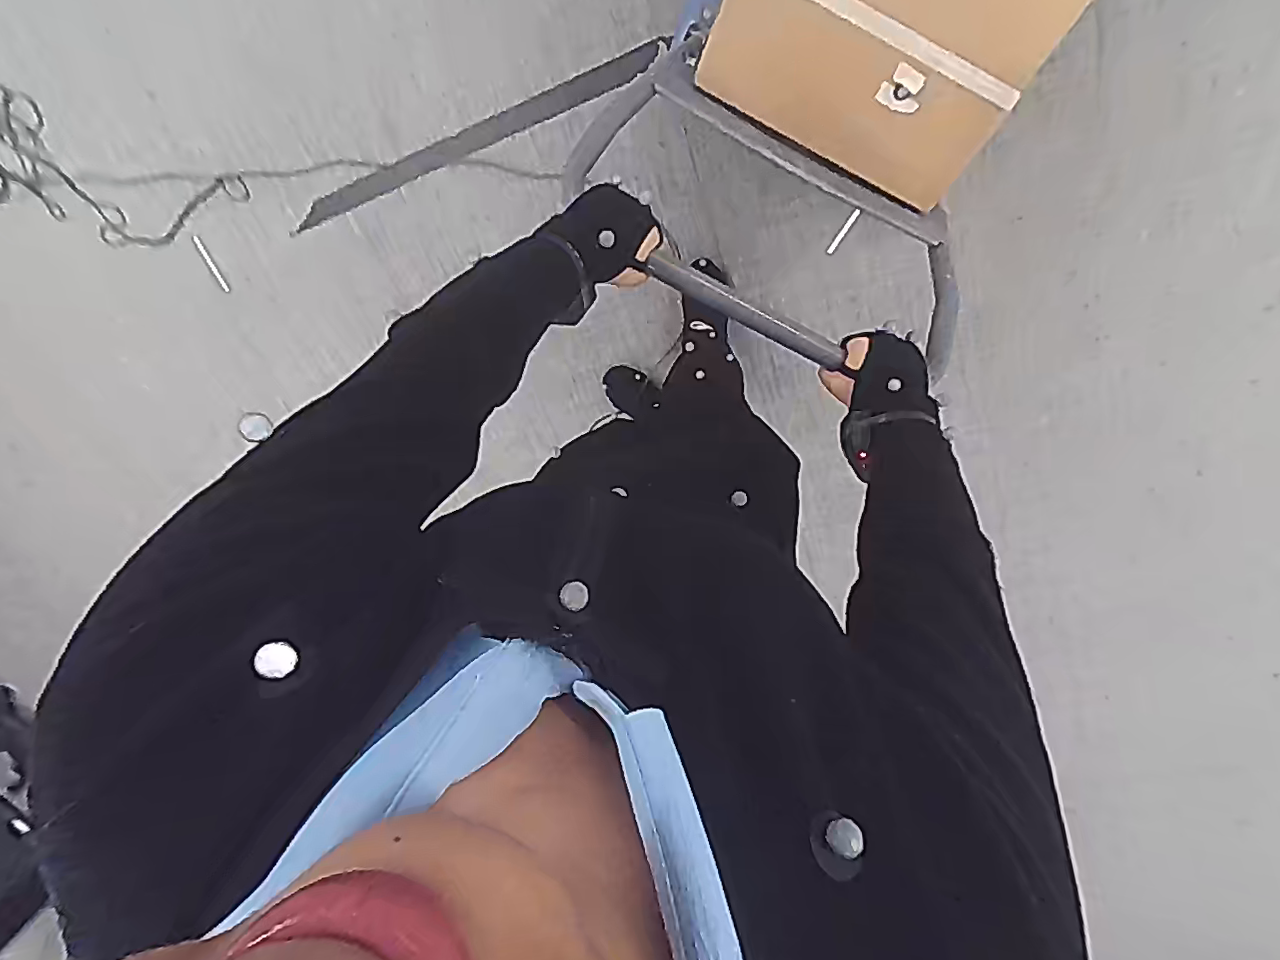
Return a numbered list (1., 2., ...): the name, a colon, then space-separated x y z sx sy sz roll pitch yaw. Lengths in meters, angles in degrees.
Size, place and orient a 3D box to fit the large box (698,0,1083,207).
1. large box: 0.349 -0.692 0.810 0.408 0.320 0.320 25 137 -5
